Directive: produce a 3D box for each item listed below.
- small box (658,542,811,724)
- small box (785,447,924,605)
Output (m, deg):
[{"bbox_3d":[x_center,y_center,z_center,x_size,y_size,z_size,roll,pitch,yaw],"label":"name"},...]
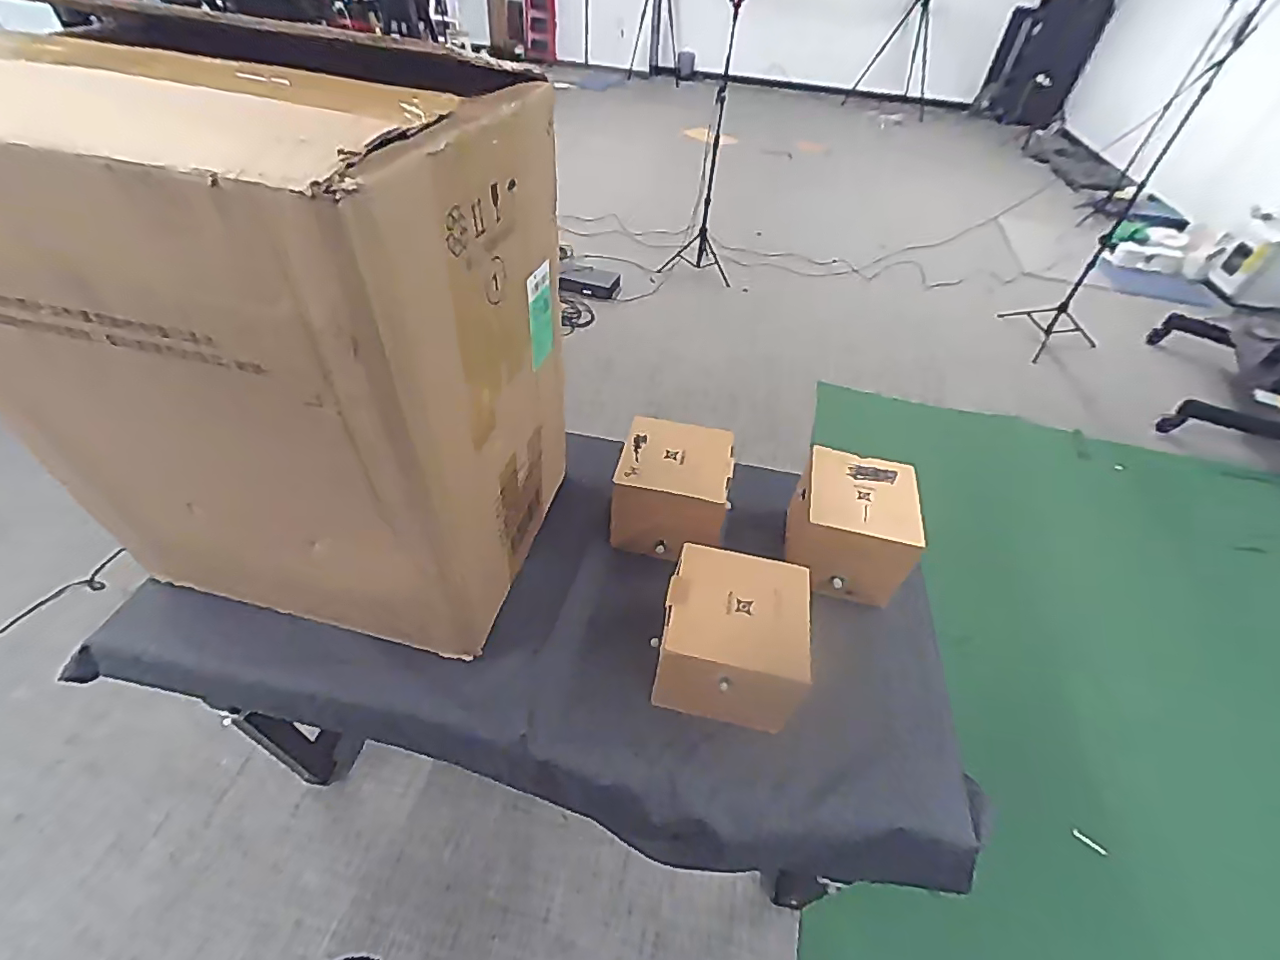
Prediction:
[{"bbox_3d":[0.126,0.214,0.748,0.179,0.176,0.168,12,47,5],"label":"small box"},{"bbox_3d":[0.346,0.077,0.900,0.168,0.176,0.179,13,47,8],"label":"small box"}]
